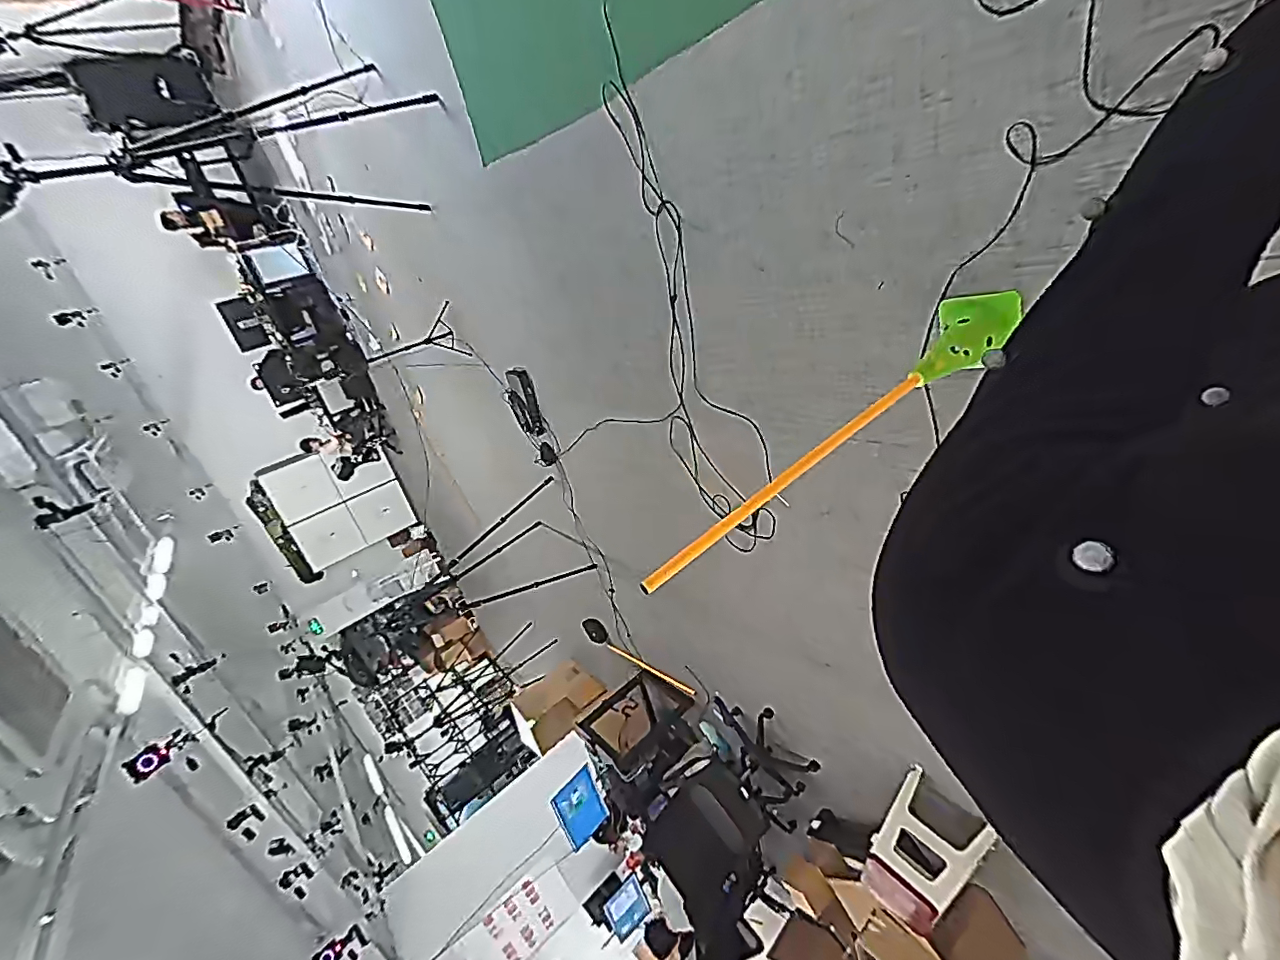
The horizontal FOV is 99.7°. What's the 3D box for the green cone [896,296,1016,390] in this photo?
[{"bbox_3d":[0.776,-0.316,1.386,0.202,0.368,0.200,13,127,54],"label":"green cone"}]
